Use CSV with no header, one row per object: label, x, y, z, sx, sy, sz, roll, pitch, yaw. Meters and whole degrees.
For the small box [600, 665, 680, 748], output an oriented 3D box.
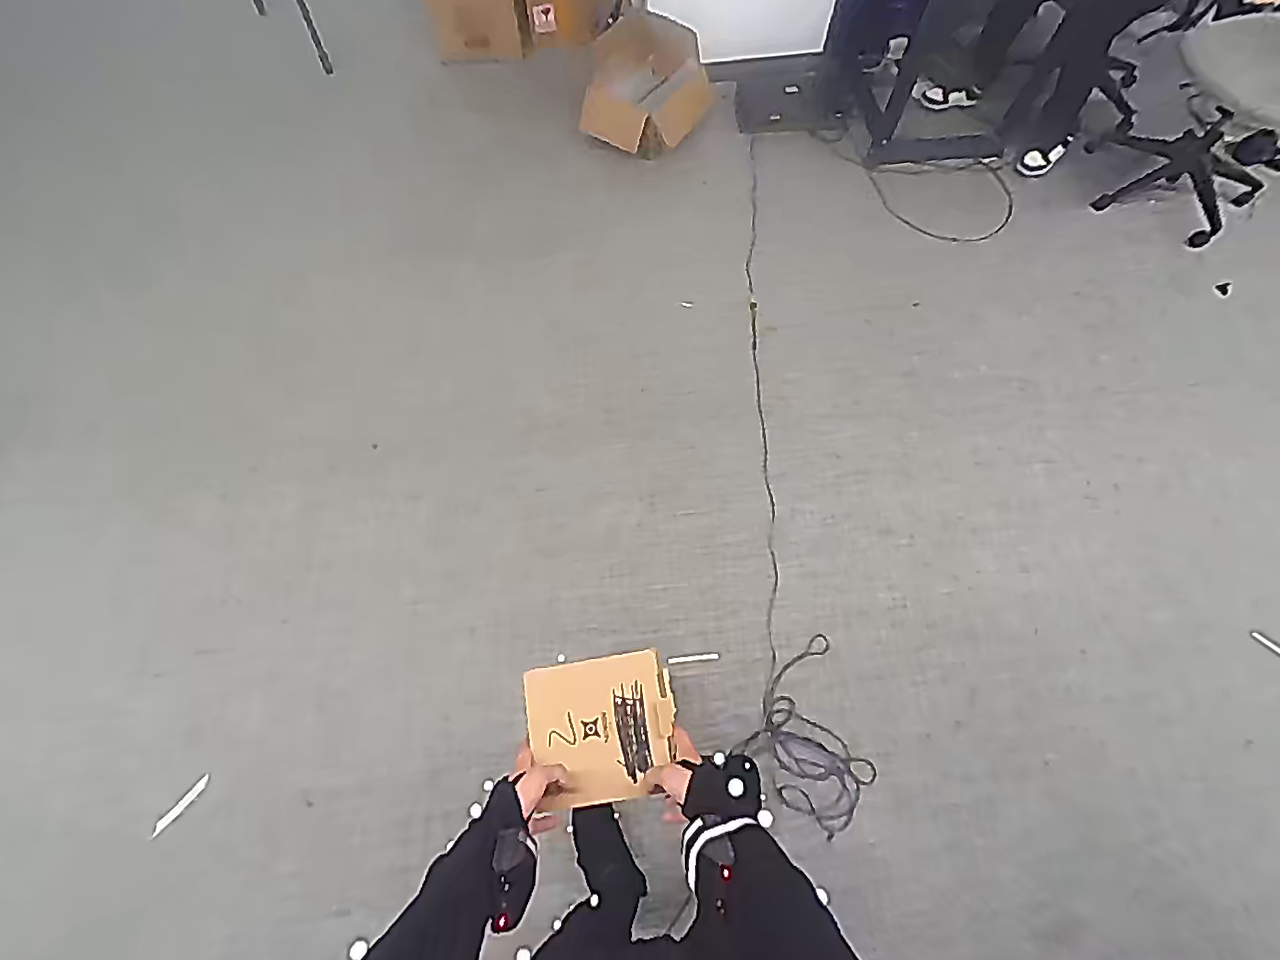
small box,0.001,0.563,1.341,0.179,0.176,0.168,-7,66,-3
